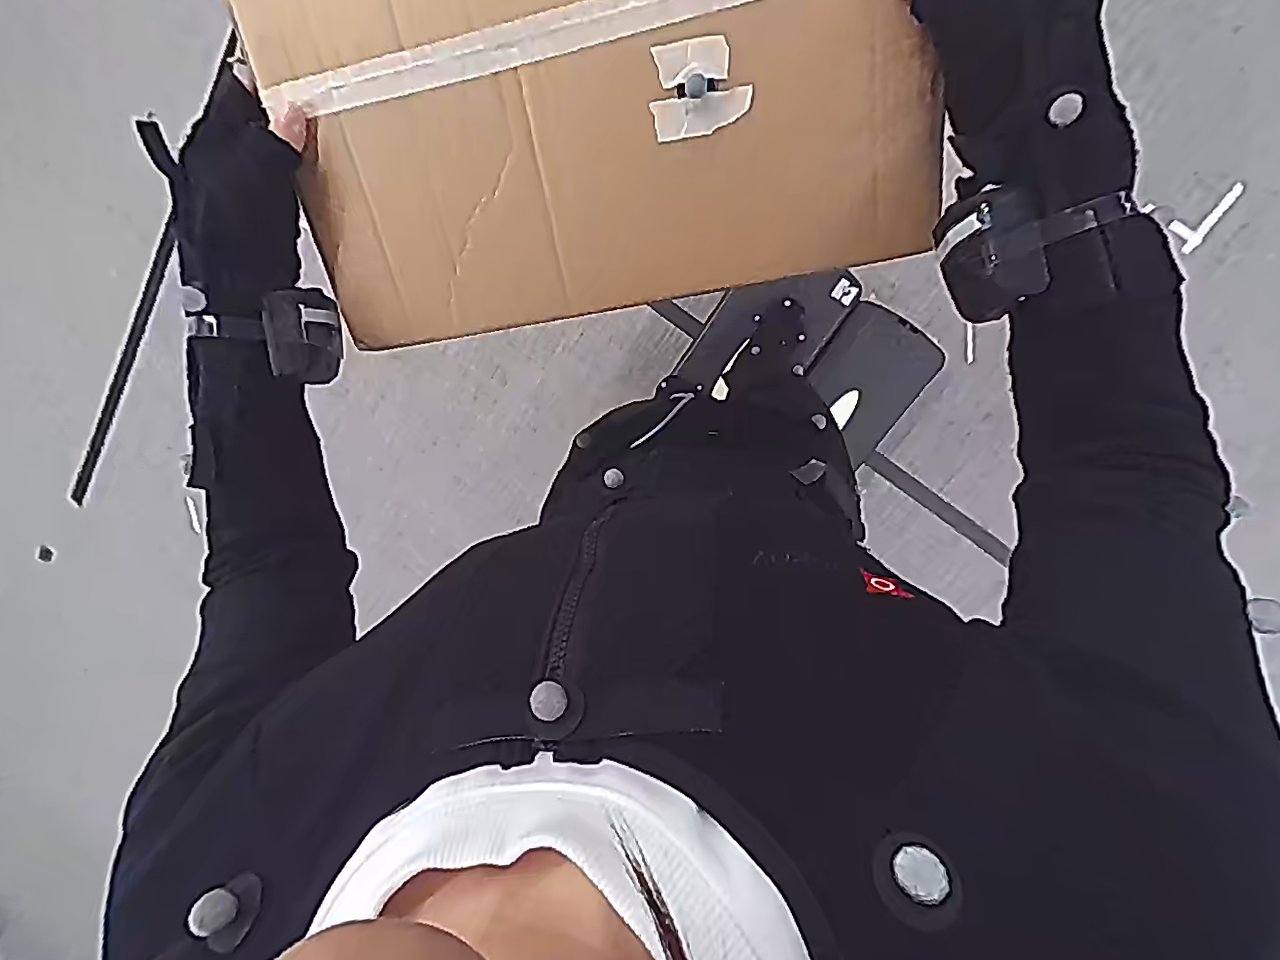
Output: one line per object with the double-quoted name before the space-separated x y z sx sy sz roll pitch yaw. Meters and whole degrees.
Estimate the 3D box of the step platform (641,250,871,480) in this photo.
"step platform" 0.288 -0.334 1.435 0.286 0.204 0.684 34 104 0

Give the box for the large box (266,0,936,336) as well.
"large box" -0.018 -0.329 0.463 0.408 0.320 0.320 -7 112 9
